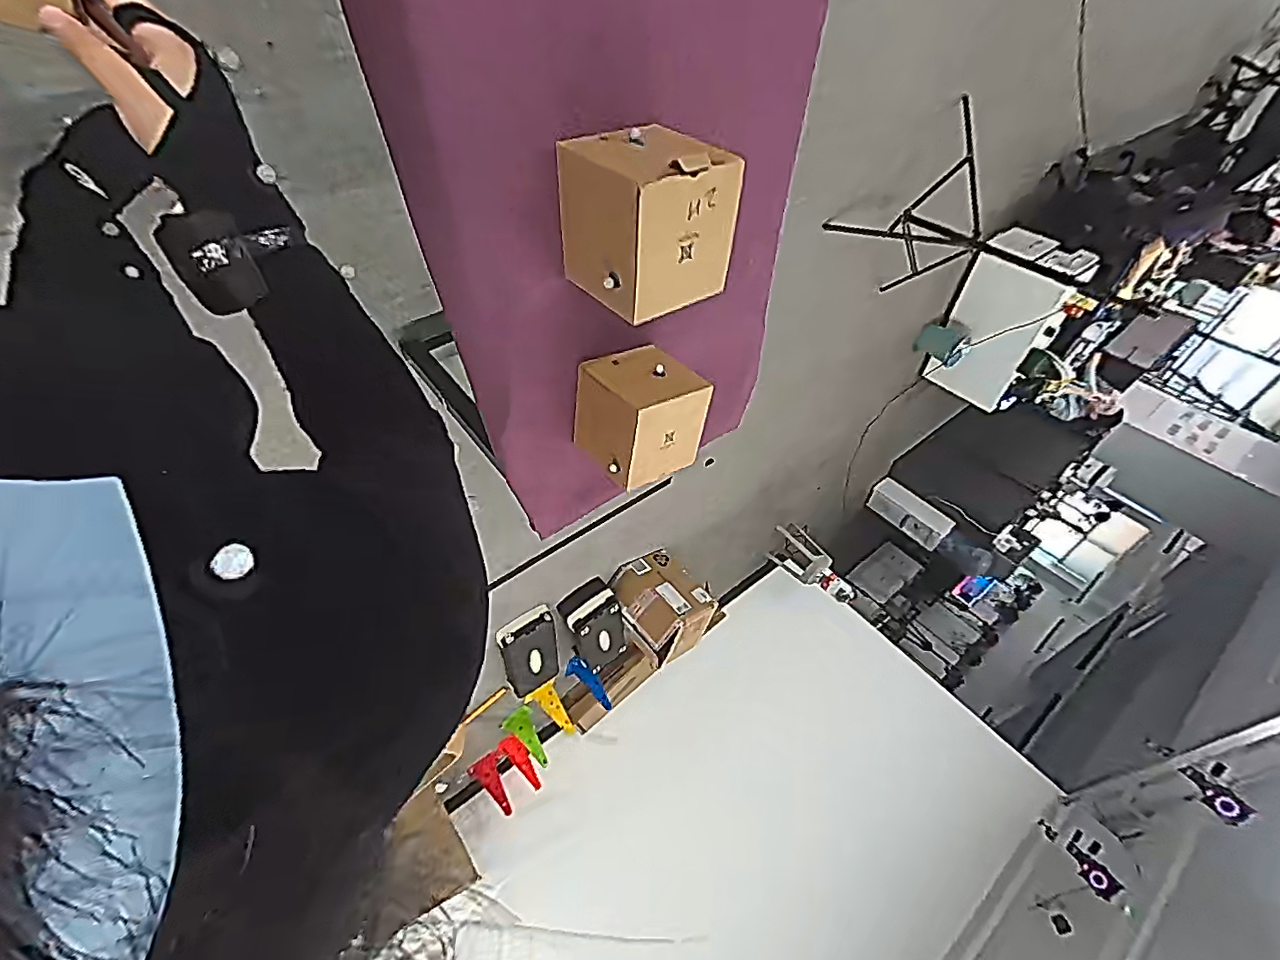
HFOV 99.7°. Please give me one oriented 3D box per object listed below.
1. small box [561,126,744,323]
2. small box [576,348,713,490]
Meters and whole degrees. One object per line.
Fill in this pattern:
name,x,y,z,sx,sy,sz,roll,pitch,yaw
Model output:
small box,0.009,-0.345,0.724,0.168,0.176,0.179,-29,144,-27
small box,0.000,-0.119,0.965,0.168,0.176,0.179,-24,141,-33
